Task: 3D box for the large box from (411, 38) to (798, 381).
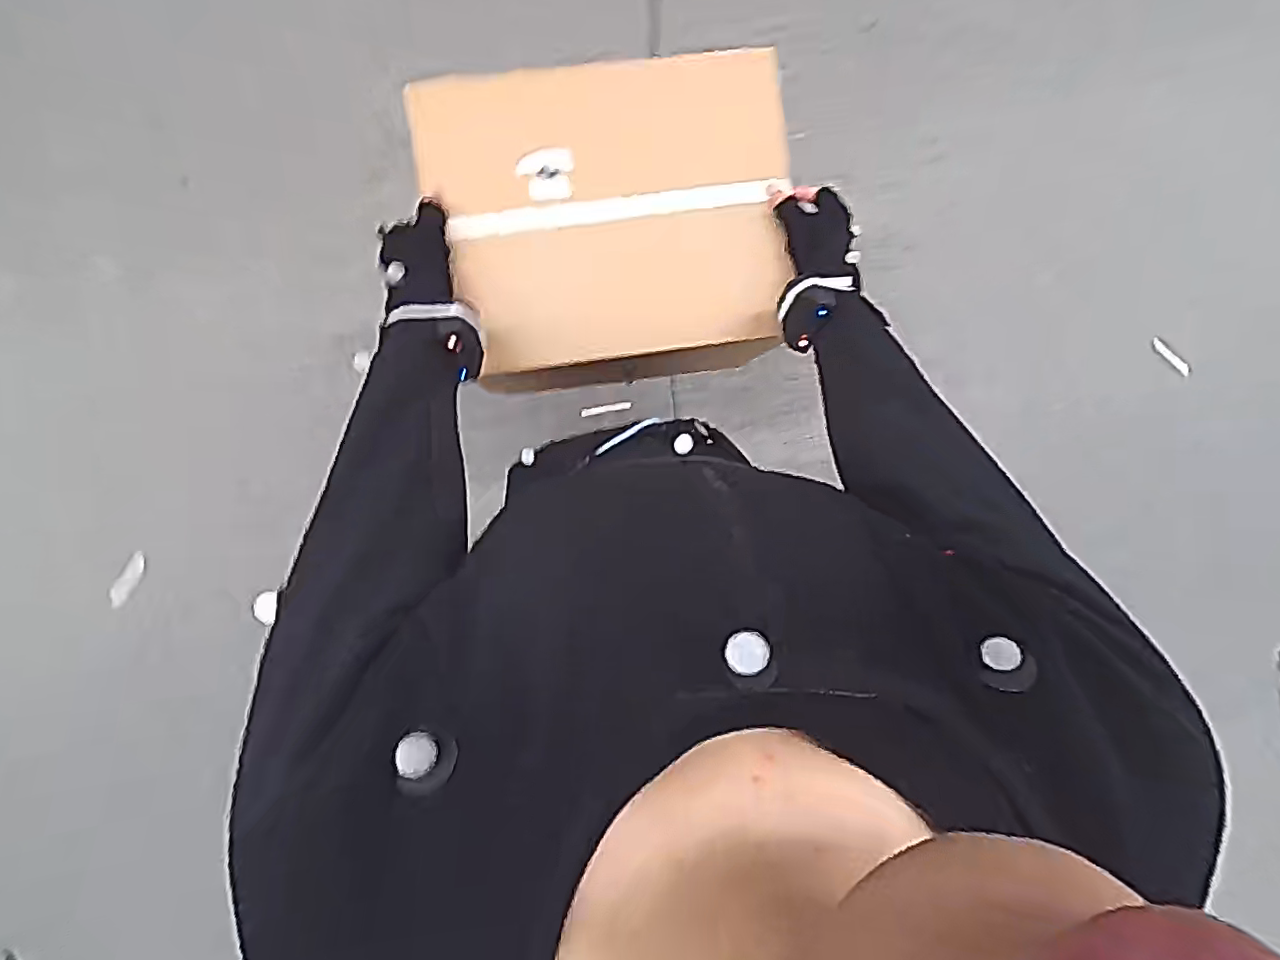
[{"bbox_3d":[-0.038,-0.323,0.749,0.408,0.320,0.320,-7,95,-2],"label":"large box"}]
